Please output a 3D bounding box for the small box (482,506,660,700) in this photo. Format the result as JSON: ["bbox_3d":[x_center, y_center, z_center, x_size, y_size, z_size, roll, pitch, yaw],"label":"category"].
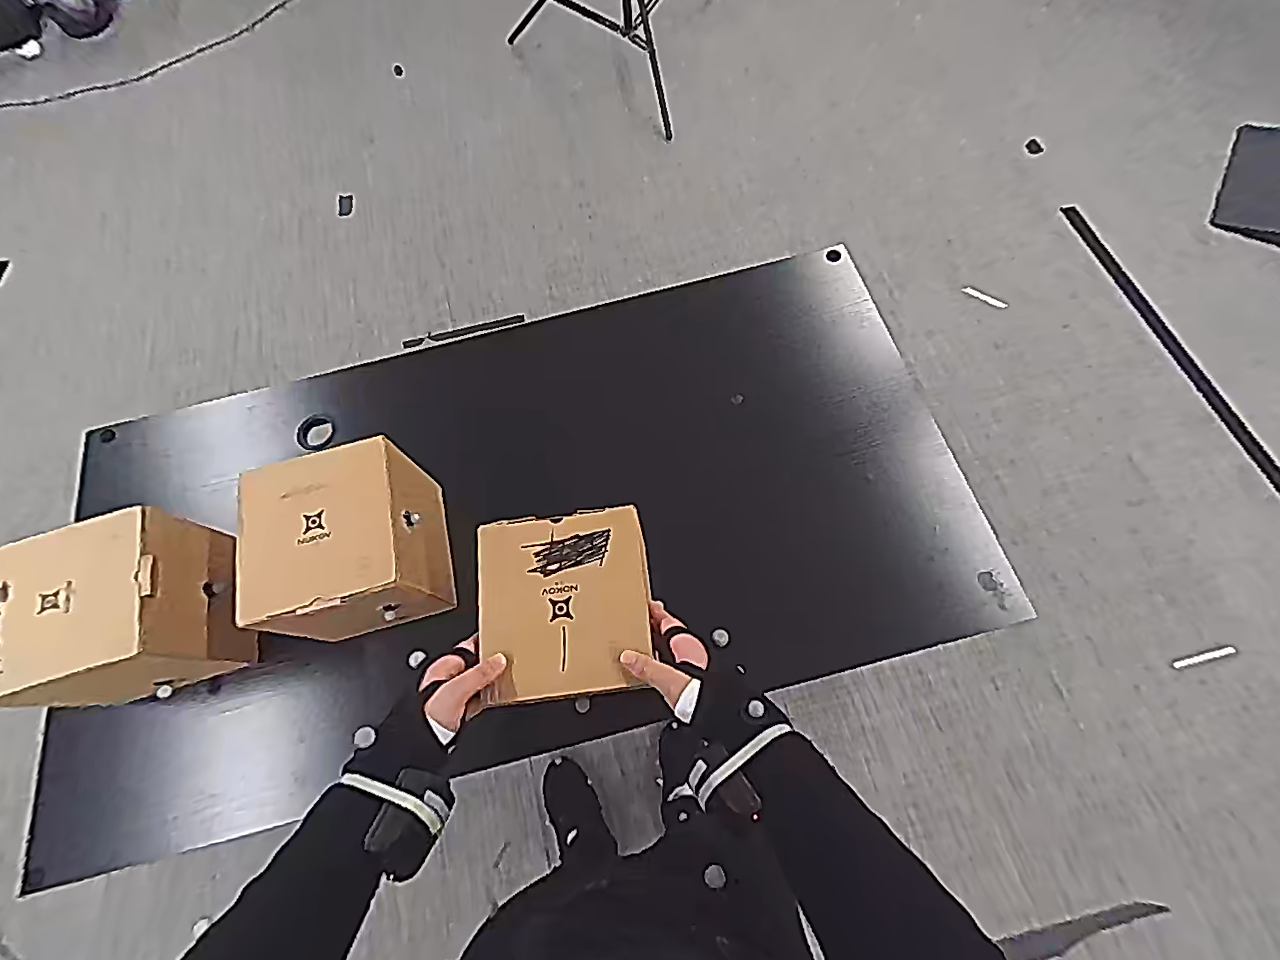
[{"bbox_3d":[-0.069,0.144,0.603,0.168,0.176,0.179,-7,69,1],"label":"small box"}]

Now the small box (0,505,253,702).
[{"bbox_3d":[-0.588,0.149,0.634,0.179,0.176,0.168,-16,68,-4],"label":"small box"}]

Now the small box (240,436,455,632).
[{"bbox_3d":[-0.337,0.076,0.649,0.168,0.176,0.179,-15,68,-4],"label":"small box"}]
